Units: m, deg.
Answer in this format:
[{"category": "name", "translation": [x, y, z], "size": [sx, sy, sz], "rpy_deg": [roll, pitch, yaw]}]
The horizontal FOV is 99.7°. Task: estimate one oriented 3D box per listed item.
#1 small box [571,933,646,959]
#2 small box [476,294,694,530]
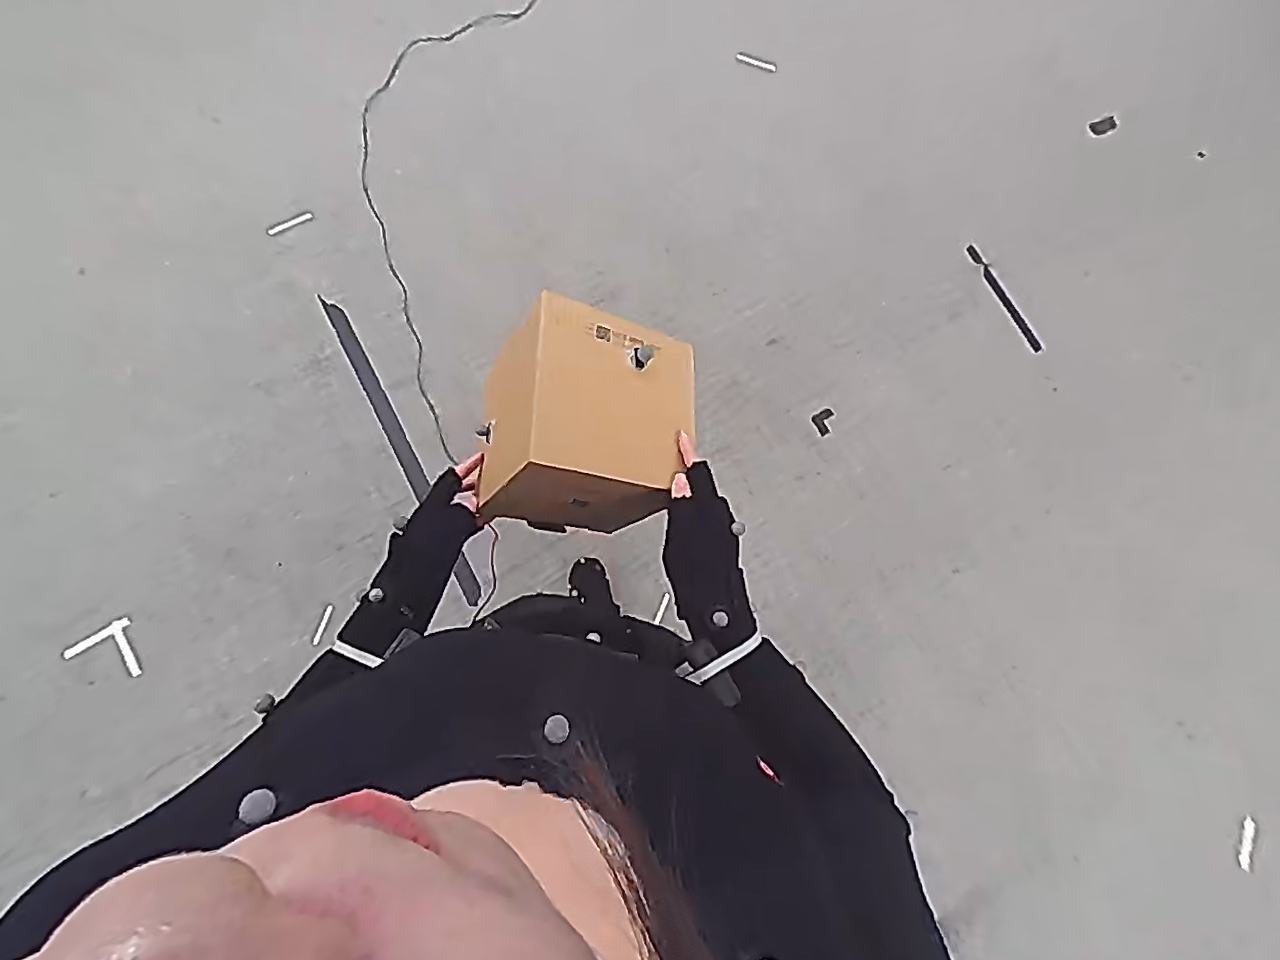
[{"category": "small box", "translation": [-0.053, 0.962, 0.952], "size": [0.179, 0.176, 0.168], "rpy_deg": [-23, 82, -5]}, {"category": "small box", "translation": [-0.058, -0.056, 0.561], "size": [0.168, 0.179, 0.176], "rpy_deg": [11, 68, -29]}]
